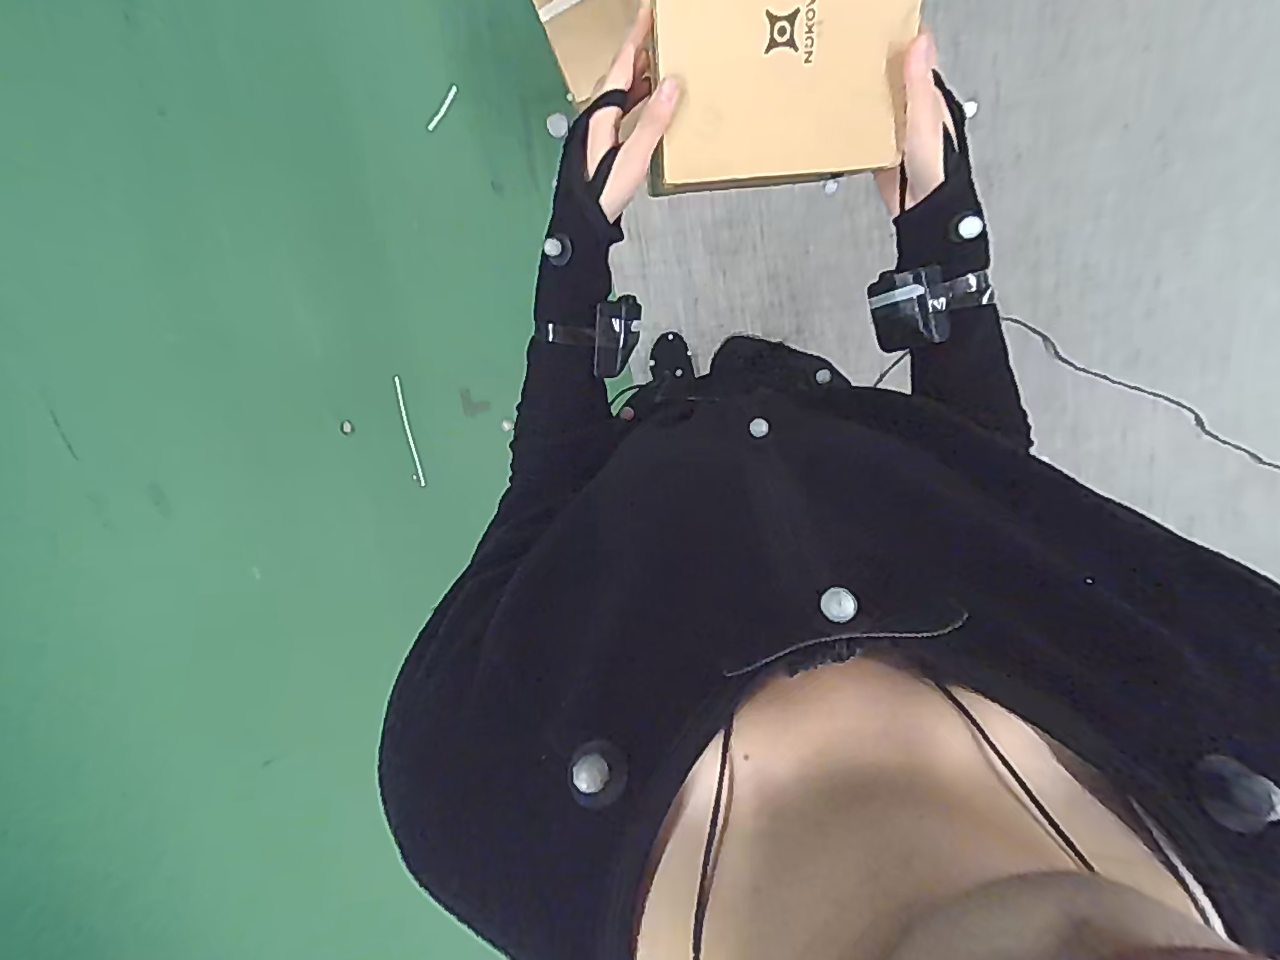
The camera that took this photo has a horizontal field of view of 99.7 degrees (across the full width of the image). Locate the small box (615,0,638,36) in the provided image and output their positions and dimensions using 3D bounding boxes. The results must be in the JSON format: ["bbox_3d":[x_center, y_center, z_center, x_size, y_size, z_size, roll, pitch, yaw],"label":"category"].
[{"bbox_3d":[0.029,-0.883,0.892,0.168,0.176,0.179,-17,103,6],"label":"small box"}]

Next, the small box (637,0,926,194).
[{"bbox_3d":[0.091,-0.325,0.418,0.179,0.176,0.168,-7,115,-3],"label":"small box"}]

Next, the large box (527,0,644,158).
[{"bbox_3d":[0.005,-0.962,1.128,0.408,0.320,0.320,-22,101,9],"label":"large box"}]
